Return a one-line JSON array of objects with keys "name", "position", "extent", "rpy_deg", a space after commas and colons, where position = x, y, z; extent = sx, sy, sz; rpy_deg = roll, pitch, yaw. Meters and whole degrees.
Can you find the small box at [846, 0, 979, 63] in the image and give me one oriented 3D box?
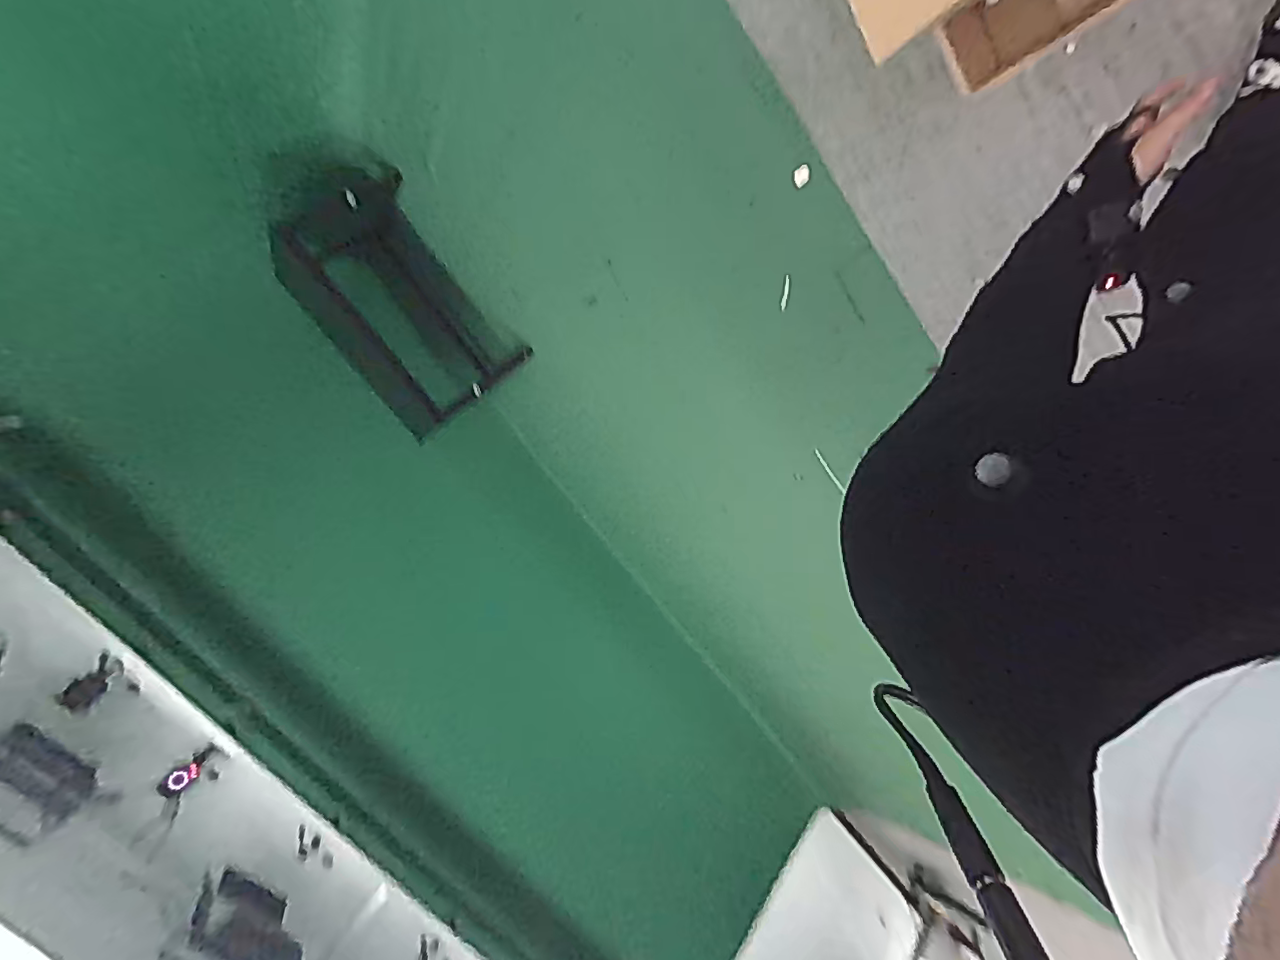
[{"name": "small box", "position": [0.281, -0.530, 0.477], "extent": [0.179, 0.176, 0.168], "rpy_deg": [54, 153, -16]}]
